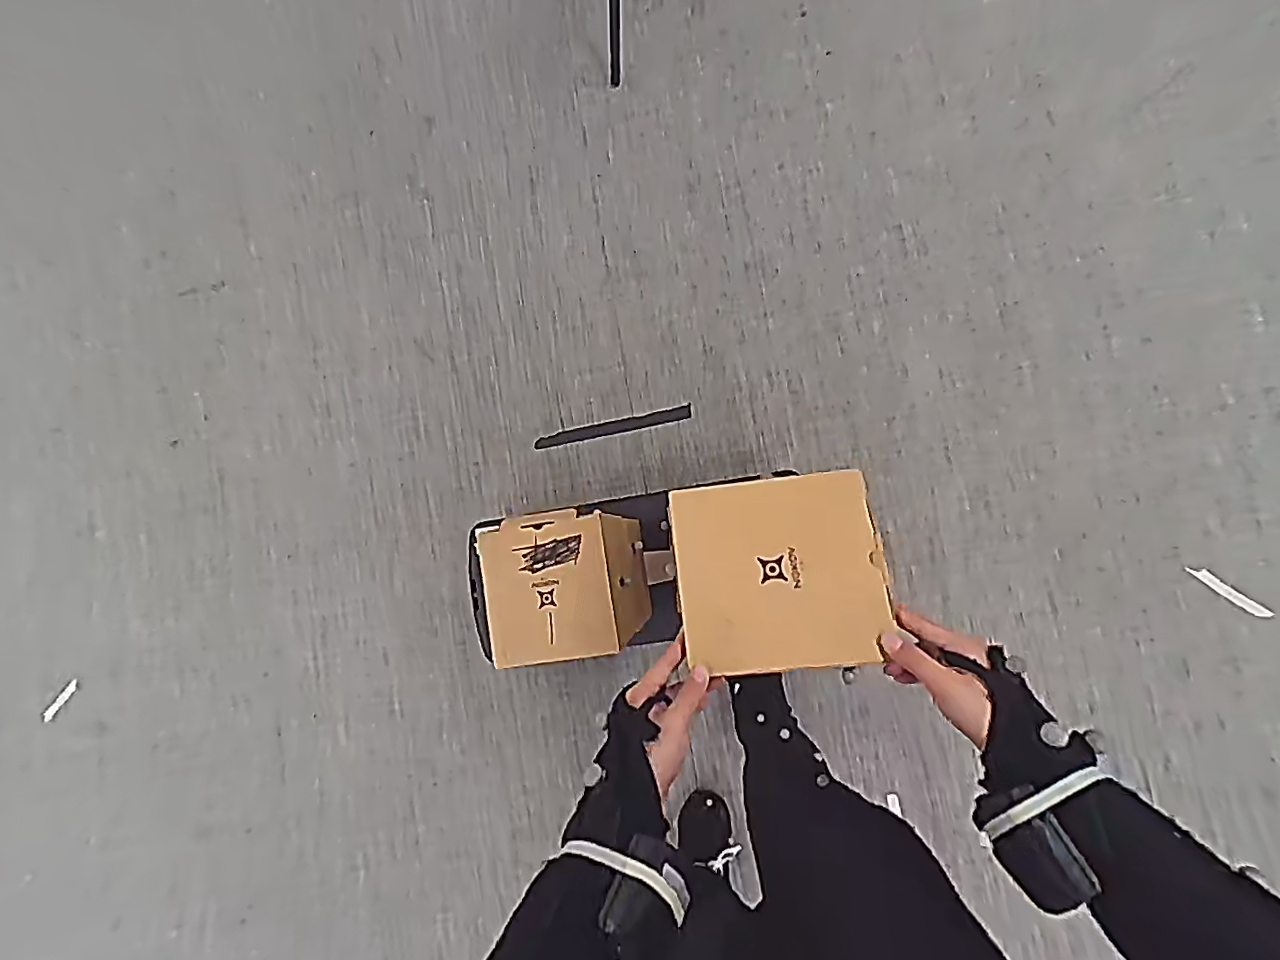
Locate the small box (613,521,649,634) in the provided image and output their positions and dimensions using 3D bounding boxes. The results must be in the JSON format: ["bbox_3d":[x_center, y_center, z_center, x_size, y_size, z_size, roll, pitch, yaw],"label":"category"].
[{"bbox_3d":[-0.082,0.168,0.924,0.168,0.176,0.179,-8,84,7],"label":"small box"}]

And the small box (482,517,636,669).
[{"bbox_3d":[-0.105,0.150,0.762,0.168,0.176,0.179,-9,84,7],"label":"small box"}]

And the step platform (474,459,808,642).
[{"bbox_3d":[0.019,0.152,1.088,0.684,0.204,0.286,-10,83,7],"label":"step platform"}]

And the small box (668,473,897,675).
[{"bbox_3d":[0.129,0.105,0.547,0.179,0.176,0.168,-7,71,5],"label":"small box"}]
